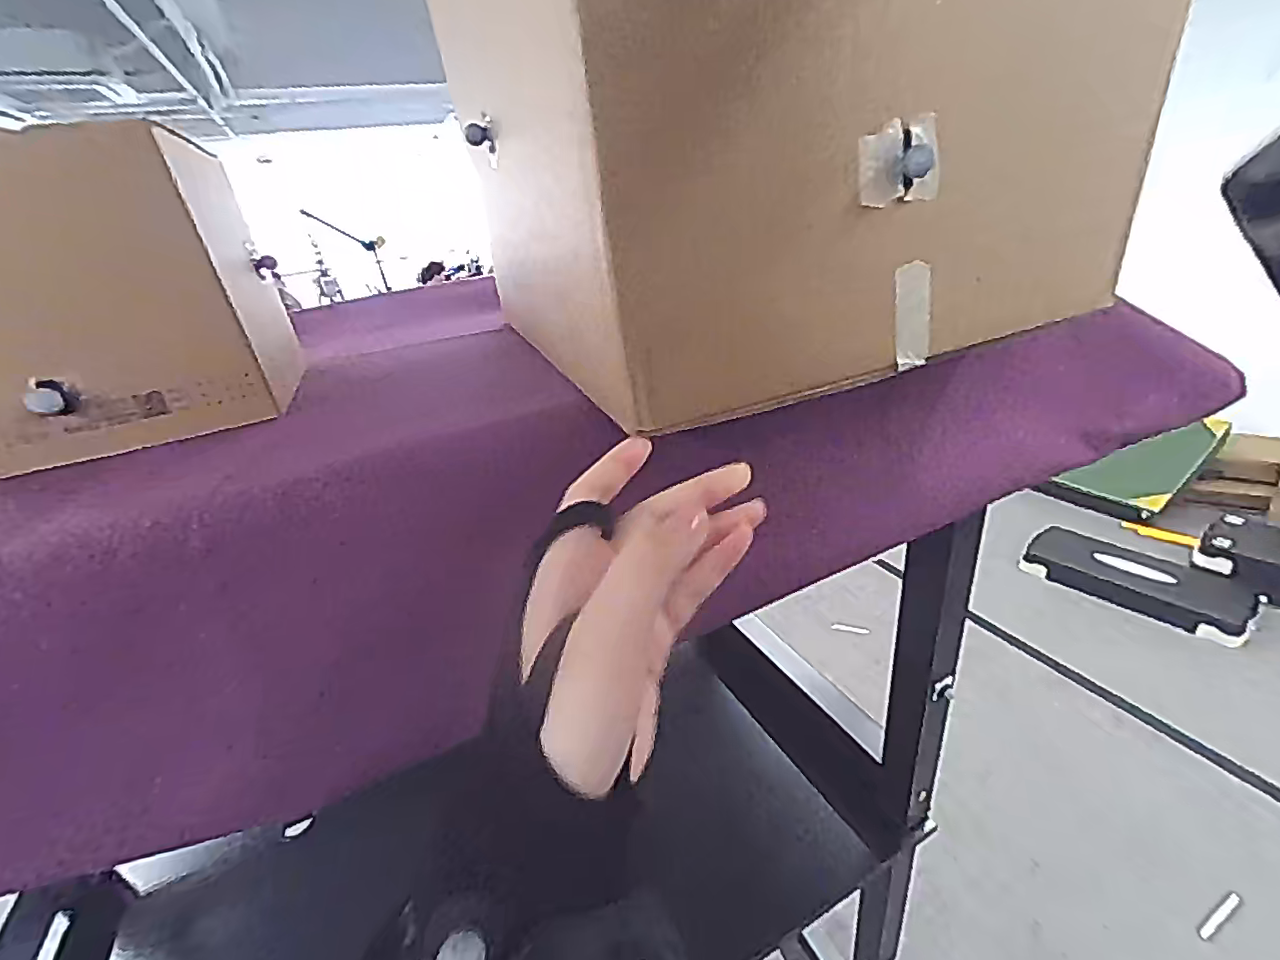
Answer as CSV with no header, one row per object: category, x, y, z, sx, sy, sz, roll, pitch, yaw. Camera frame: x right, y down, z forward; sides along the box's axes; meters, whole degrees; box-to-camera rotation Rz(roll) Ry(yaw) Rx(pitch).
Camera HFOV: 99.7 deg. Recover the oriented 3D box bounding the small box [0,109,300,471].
small box,-0.349,-0.122,0.354,0.168,0.176,0.179,-19,29,-19
